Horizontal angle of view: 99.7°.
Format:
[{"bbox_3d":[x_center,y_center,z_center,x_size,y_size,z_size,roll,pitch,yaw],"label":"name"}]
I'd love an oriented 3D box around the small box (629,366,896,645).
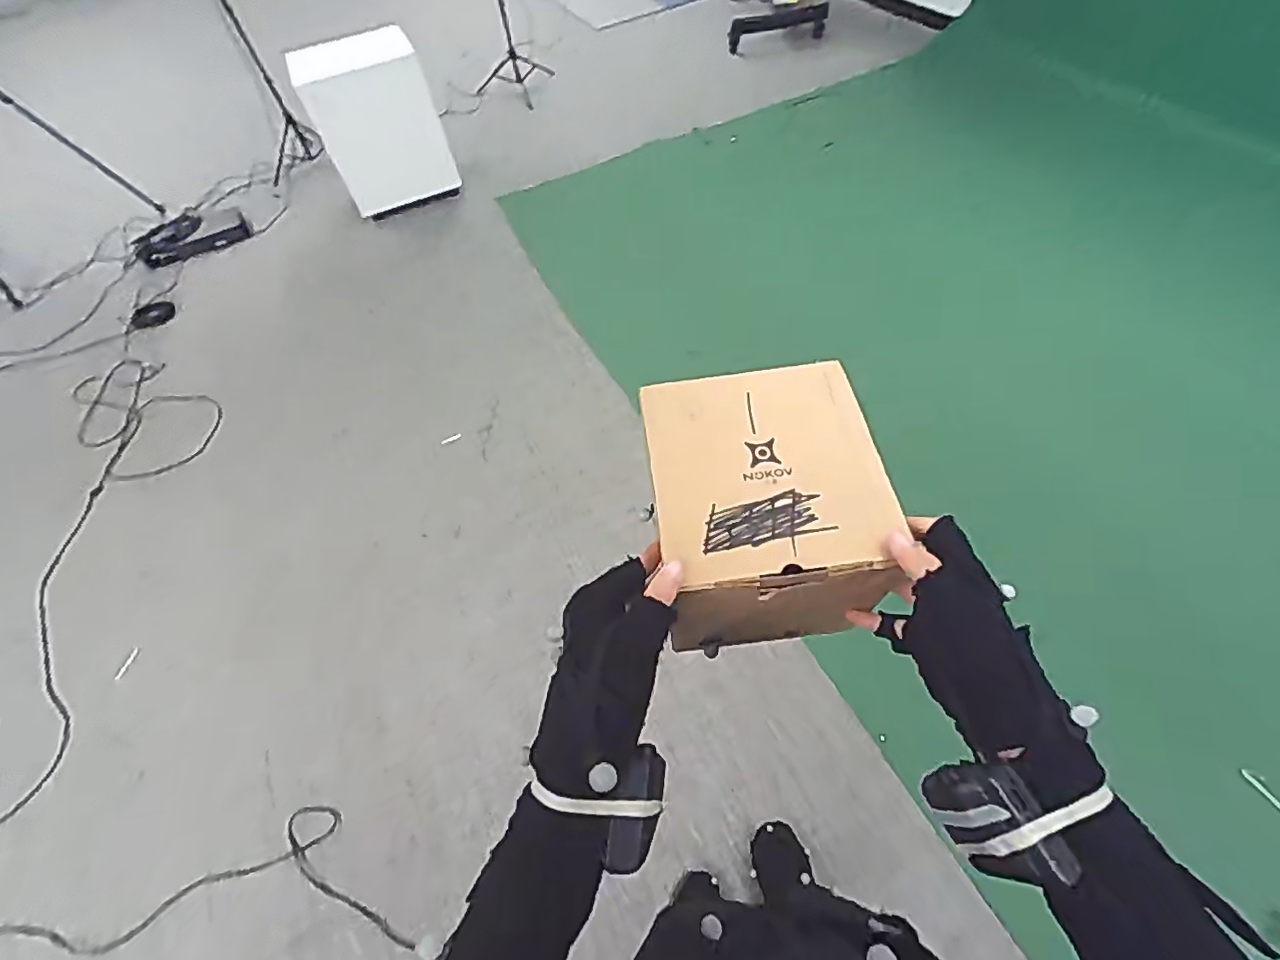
[{"bbox_3d":[0.086,0.033,0.462,0.168,0.176,0.179,-7,58,0],"label":"small box"}]
